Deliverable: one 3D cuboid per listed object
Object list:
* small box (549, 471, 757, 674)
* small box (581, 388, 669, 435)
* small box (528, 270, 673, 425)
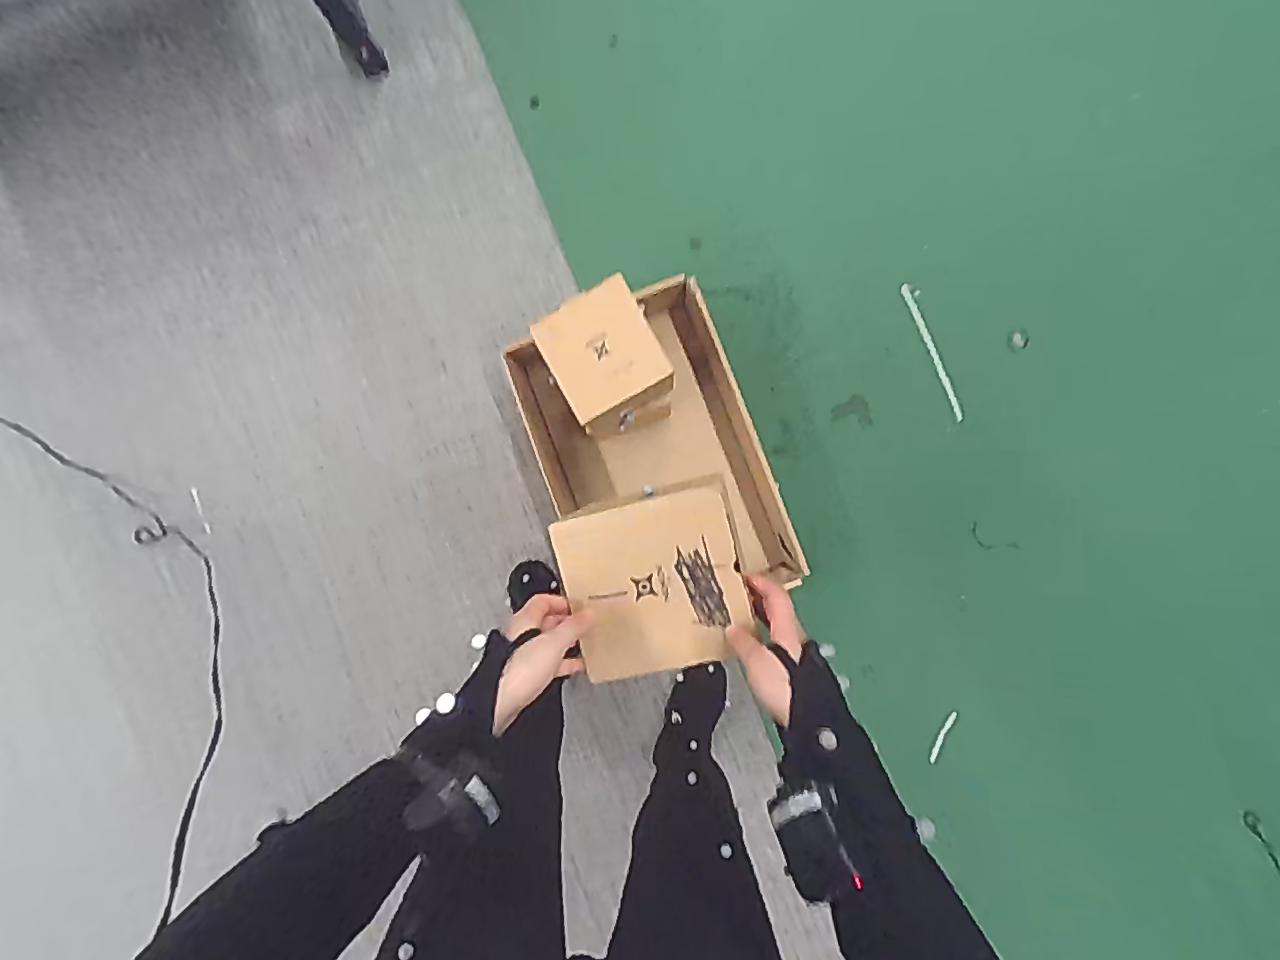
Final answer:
[{"bbox_3d":[0.022,0.091,0.607,0.179,0.176,0.168,-15,92,11],"label":"small box"},{"bbox_3d":[-0.049,-0.200,1.058,0.168,0.176,0.179,-19,88,3],"label":"small box"},{"bbox_3d":[-0.058,-0.206,0.894,0.168,0.176,0.179,-29,90,4],"label":"small box"}]
